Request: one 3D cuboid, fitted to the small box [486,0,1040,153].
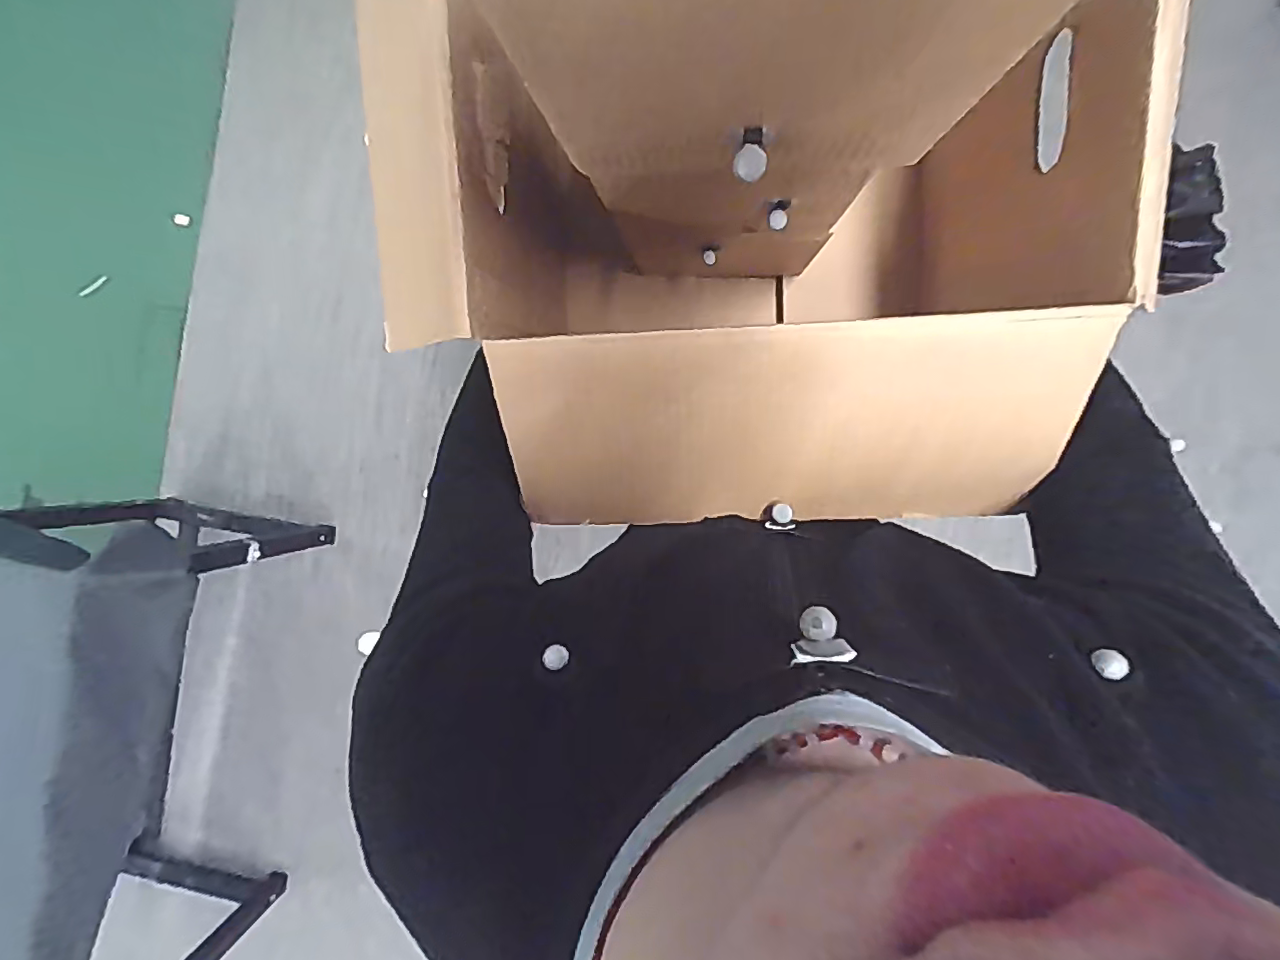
[{"bbox_3d":[0.042,-0.229,0.178,0.179,0.176,0.168,1,101,5],"label":"small box"}]
